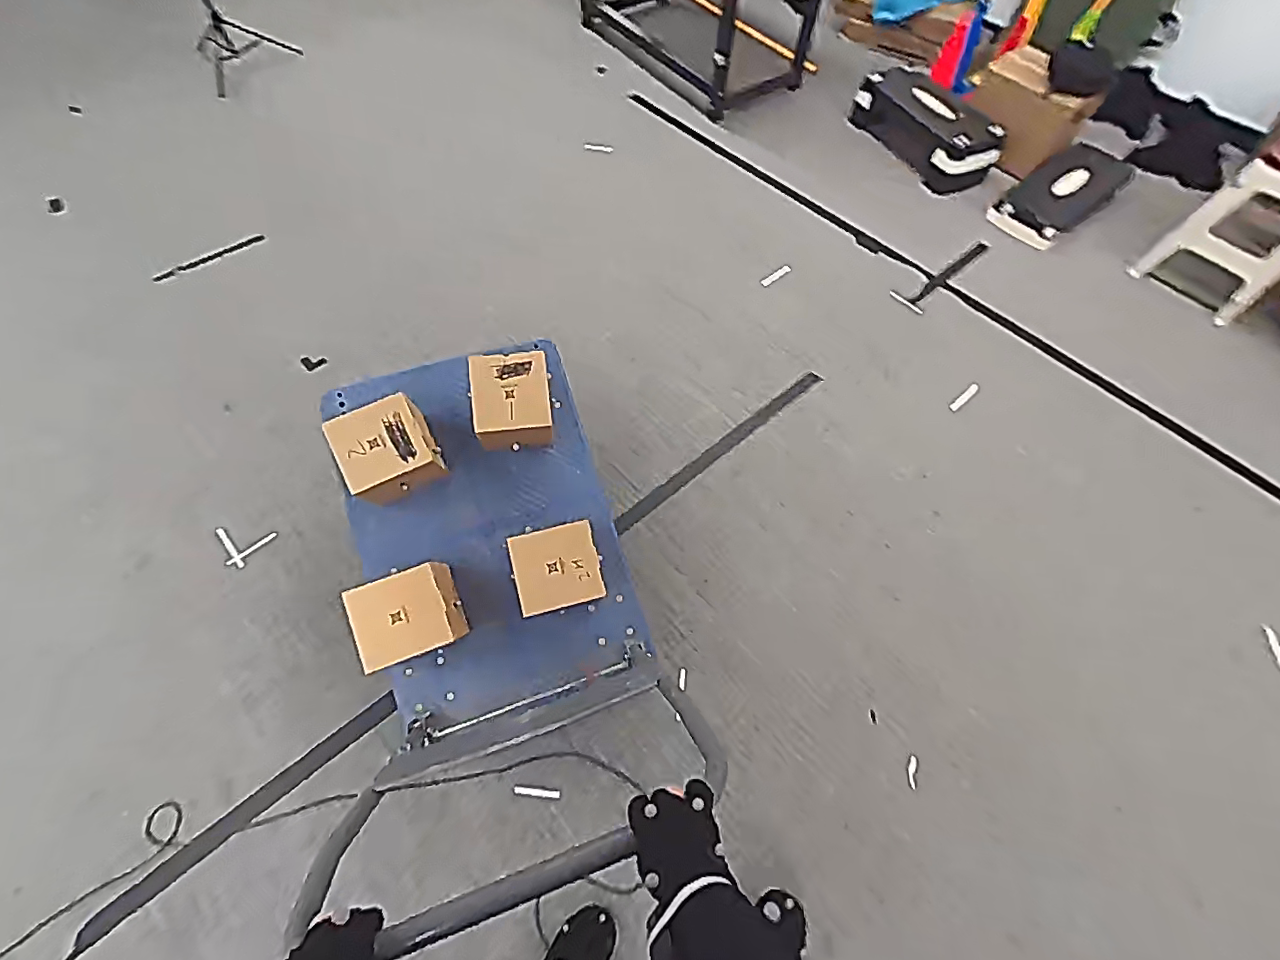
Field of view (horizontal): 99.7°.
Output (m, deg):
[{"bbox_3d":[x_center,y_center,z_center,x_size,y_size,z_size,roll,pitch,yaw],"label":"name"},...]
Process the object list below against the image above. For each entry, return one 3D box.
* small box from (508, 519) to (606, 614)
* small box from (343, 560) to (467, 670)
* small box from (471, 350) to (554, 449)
[{"bbox_3d":[-0.180,0.191,1.188,0.179,0.176,0.168,-13,82,-10],"label":"small box"},{"bbox_3d":[-0.481,0.279,1.130,0.179,0.176,0.168,-19,82,-13],"label":"small box"},{"bbox_3d":[-0.289,-0.181,1.245,0.168,0.176,0.179,-6,81,-9],"label":"small box"}]
